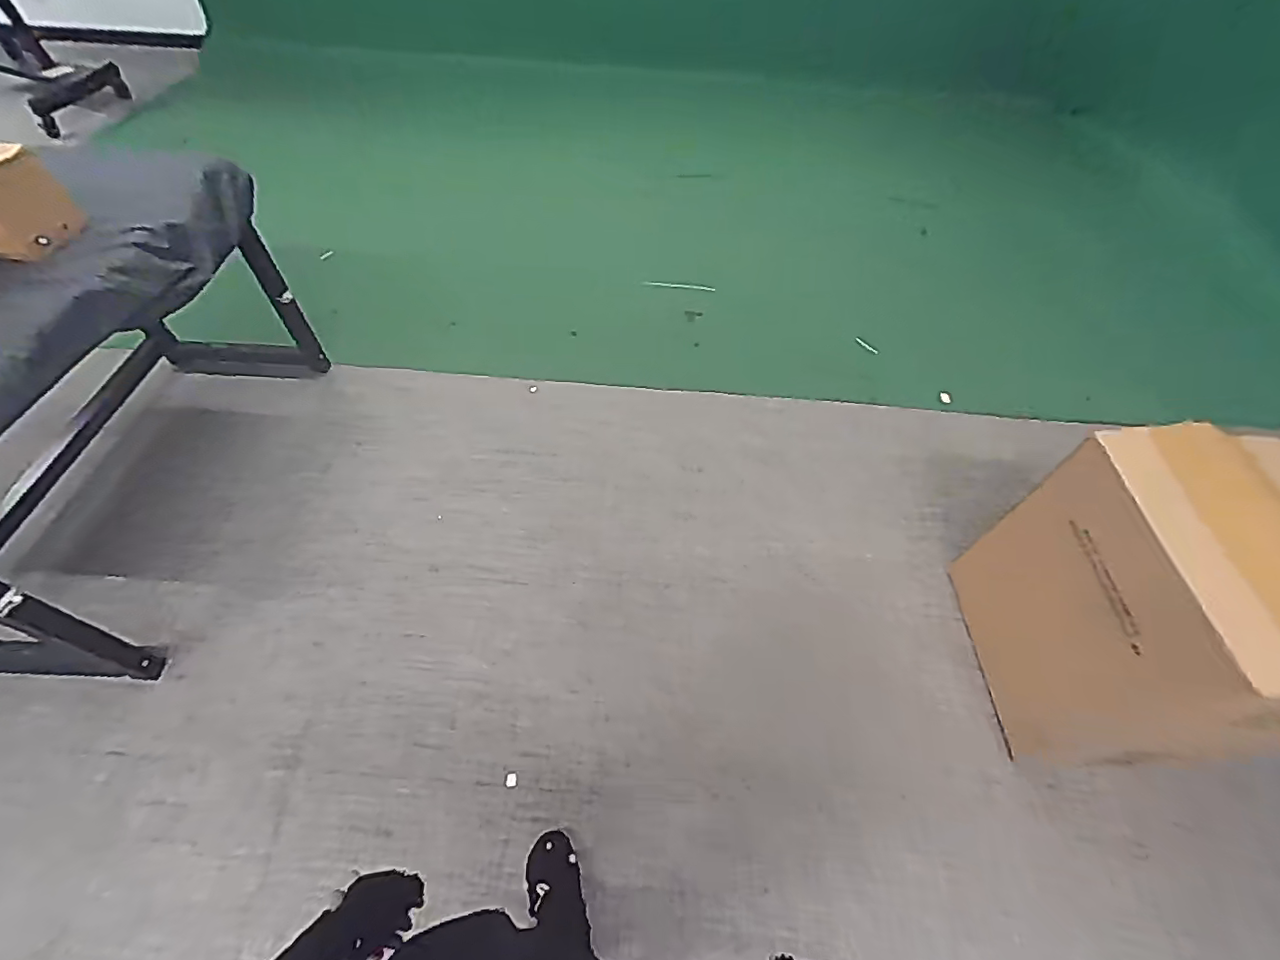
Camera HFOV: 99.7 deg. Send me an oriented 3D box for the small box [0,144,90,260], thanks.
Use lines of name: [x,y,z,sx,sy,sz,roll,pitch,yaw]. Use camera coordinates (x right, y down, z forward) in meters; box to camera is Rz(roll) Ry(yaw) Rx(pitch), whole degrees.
small box: [-1.357,-0.588,1.149,0.179,0.176,0.168,4,53,1]
